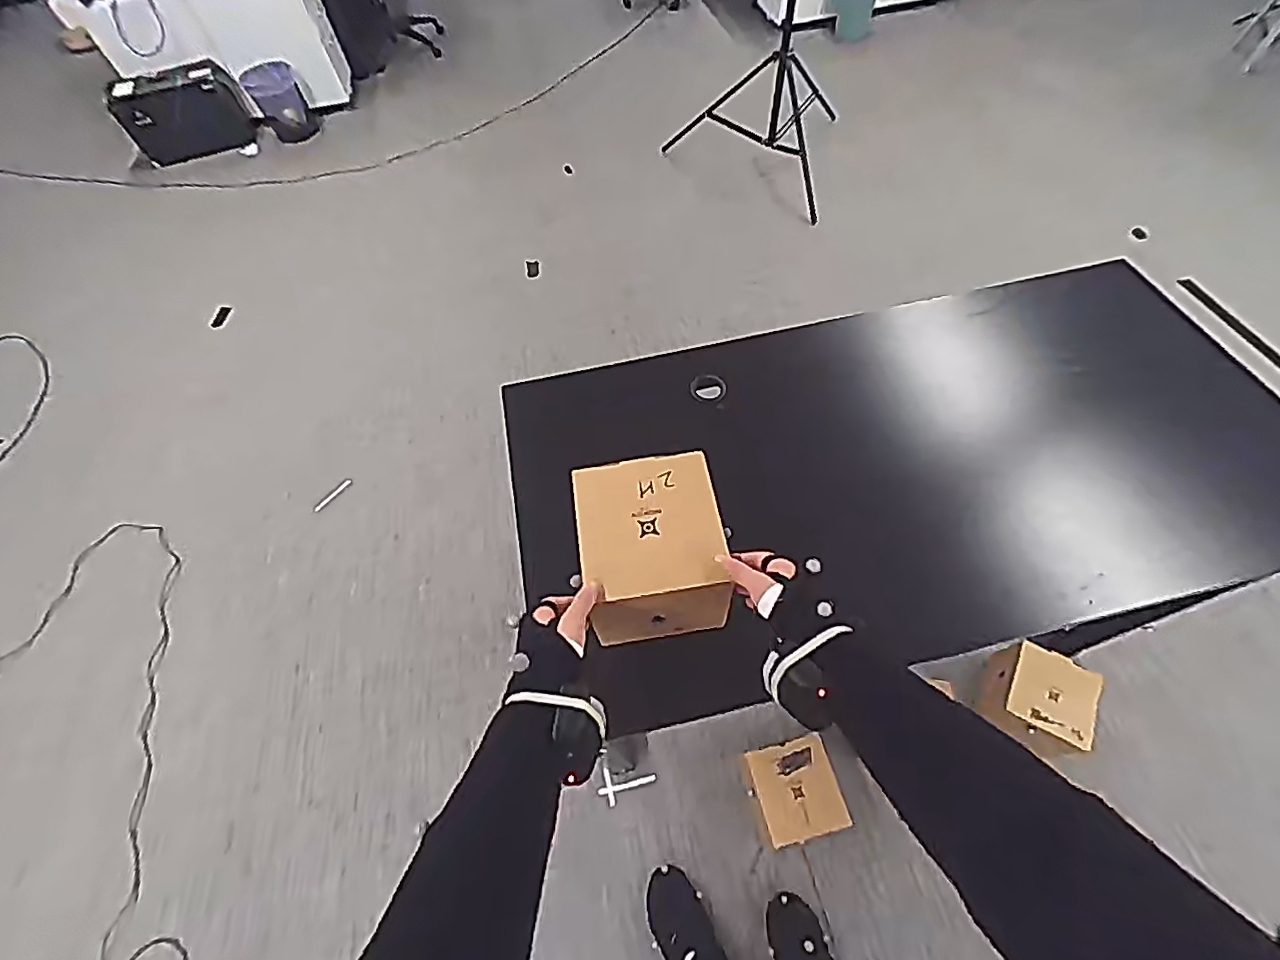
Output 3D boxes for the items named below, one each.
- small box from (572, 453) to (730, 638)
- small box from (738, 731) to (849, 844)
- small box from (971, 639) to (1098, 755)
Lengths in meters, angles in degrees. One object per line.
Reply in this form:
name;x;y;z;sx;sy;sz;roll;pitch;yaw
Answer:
small box;0.012;0.092;0.690;0.168;0.176;0.179;-9;58;-2
small box;0.321;0.667;1.176;0.168;0.176;0.179;-14;60;-4
small box;0.892;0.499;1.236;0.168;0.176;0.179;25;64;18
